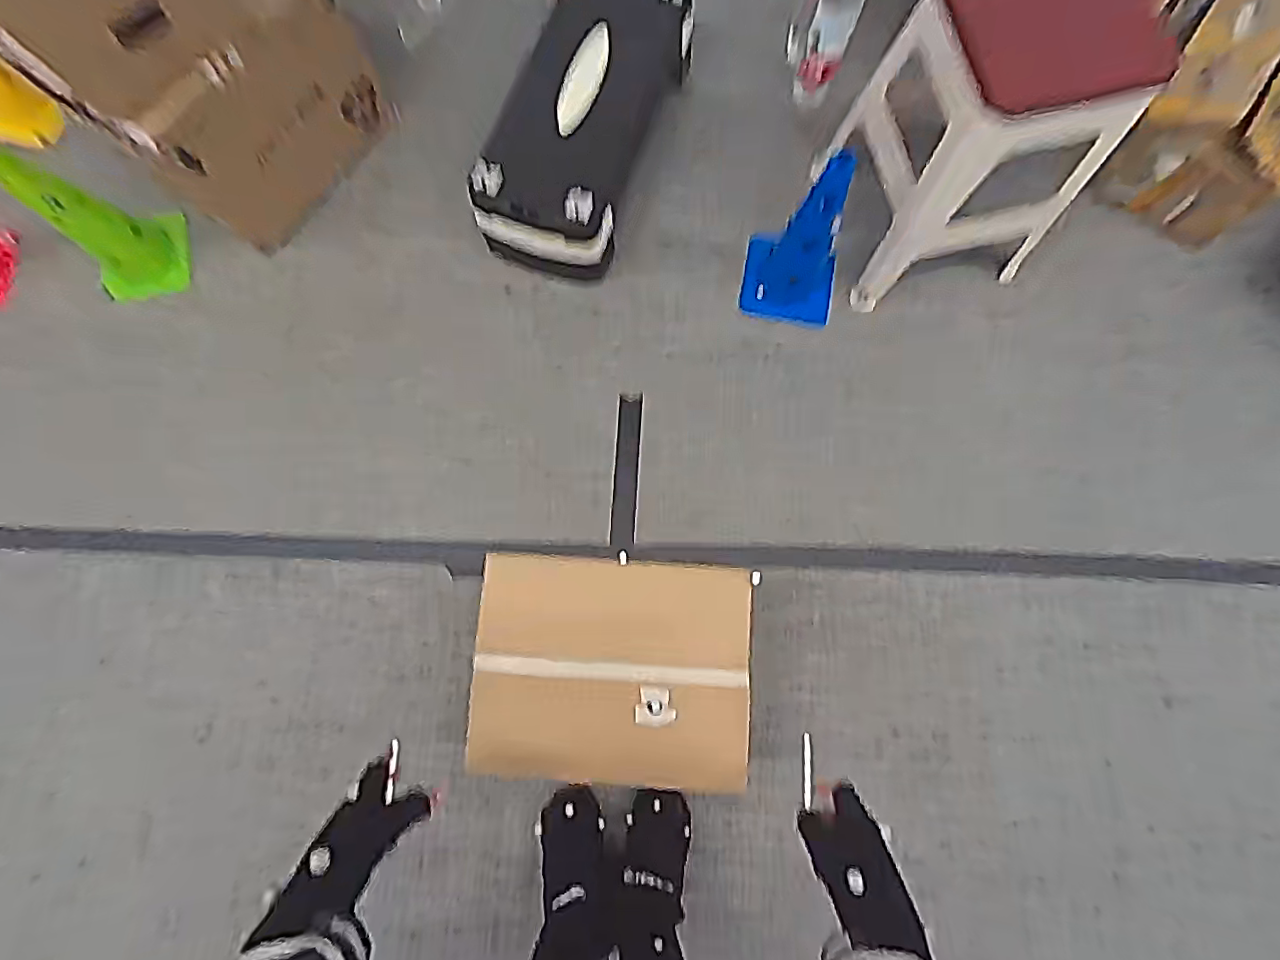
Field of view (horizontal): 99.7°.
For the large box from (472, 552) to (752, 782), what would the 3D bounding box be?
[{"bbox_3d":[-0.039,0.299,0.940,0.408,0.320,0.320,4,80,0],"label":"large box"}]
